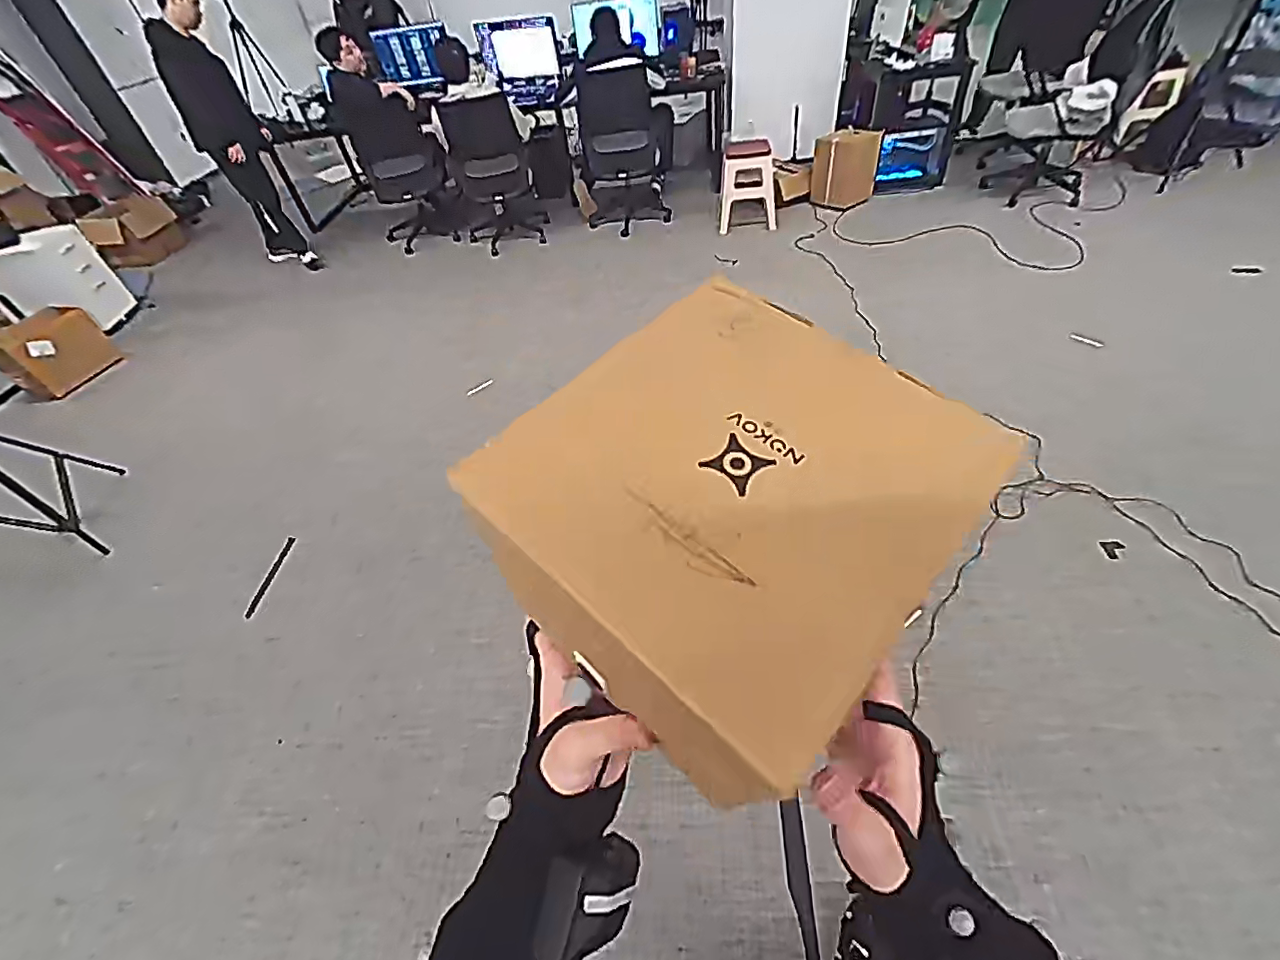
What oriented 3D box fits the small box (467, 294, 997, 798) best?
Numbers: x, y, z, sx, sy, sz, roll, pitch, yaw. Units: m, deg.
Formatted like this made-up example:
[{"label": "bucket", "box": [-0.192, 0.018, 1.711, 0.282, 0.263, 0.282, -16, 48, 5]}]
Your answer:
[{"label": "small box", "box": [0.042, 0.041, 0.299, 0.168, 0.176, 0.179, 35, 66, 21]}]
